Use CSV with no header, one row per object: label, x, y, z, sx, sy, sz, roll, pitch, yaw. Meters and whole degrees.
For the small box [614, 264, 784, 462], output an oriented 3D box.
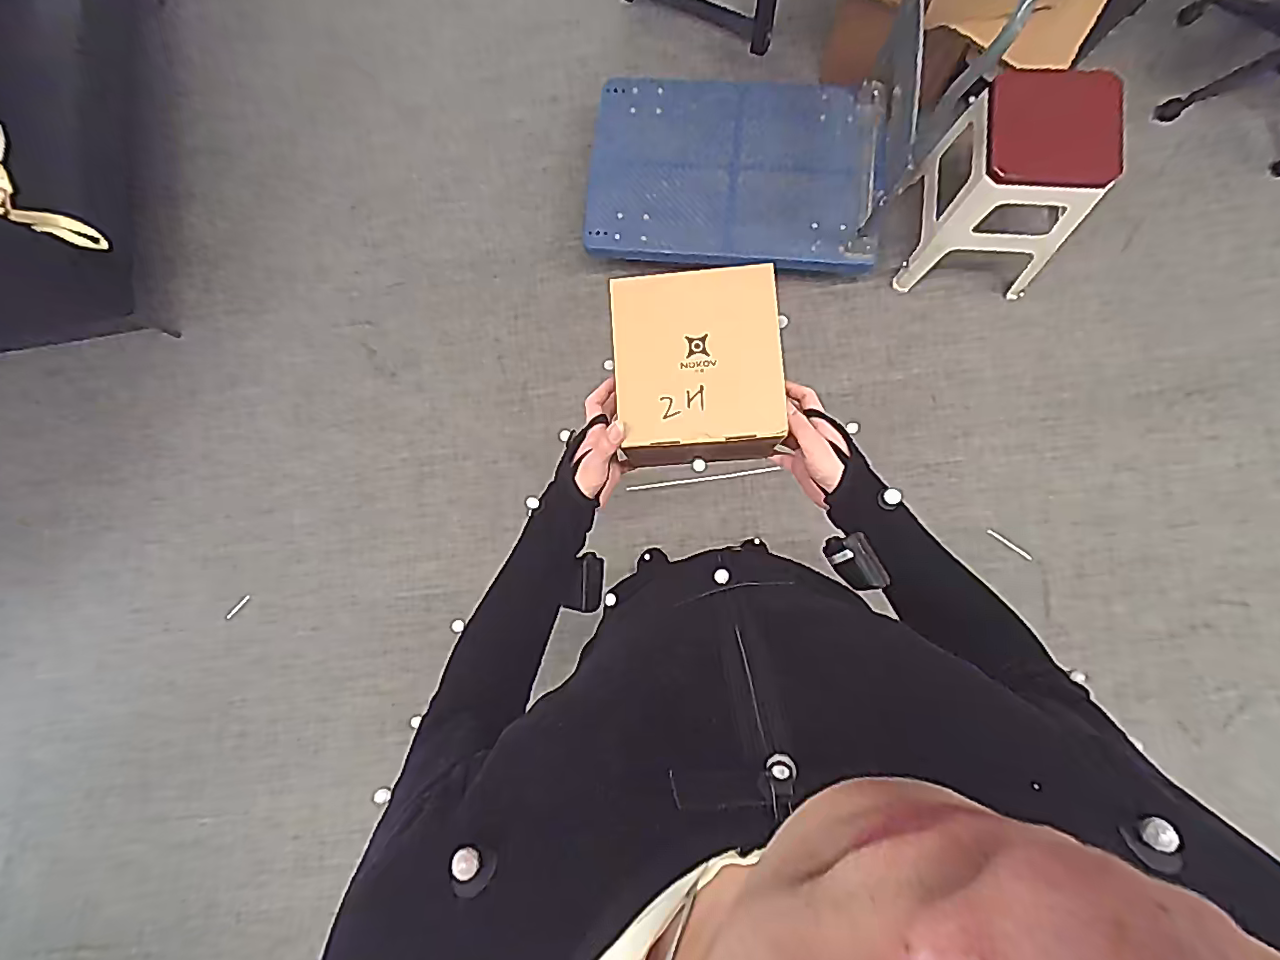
small box,0.062,-0.121,0.620,0.168,0.176,0.179,-3,85,5
